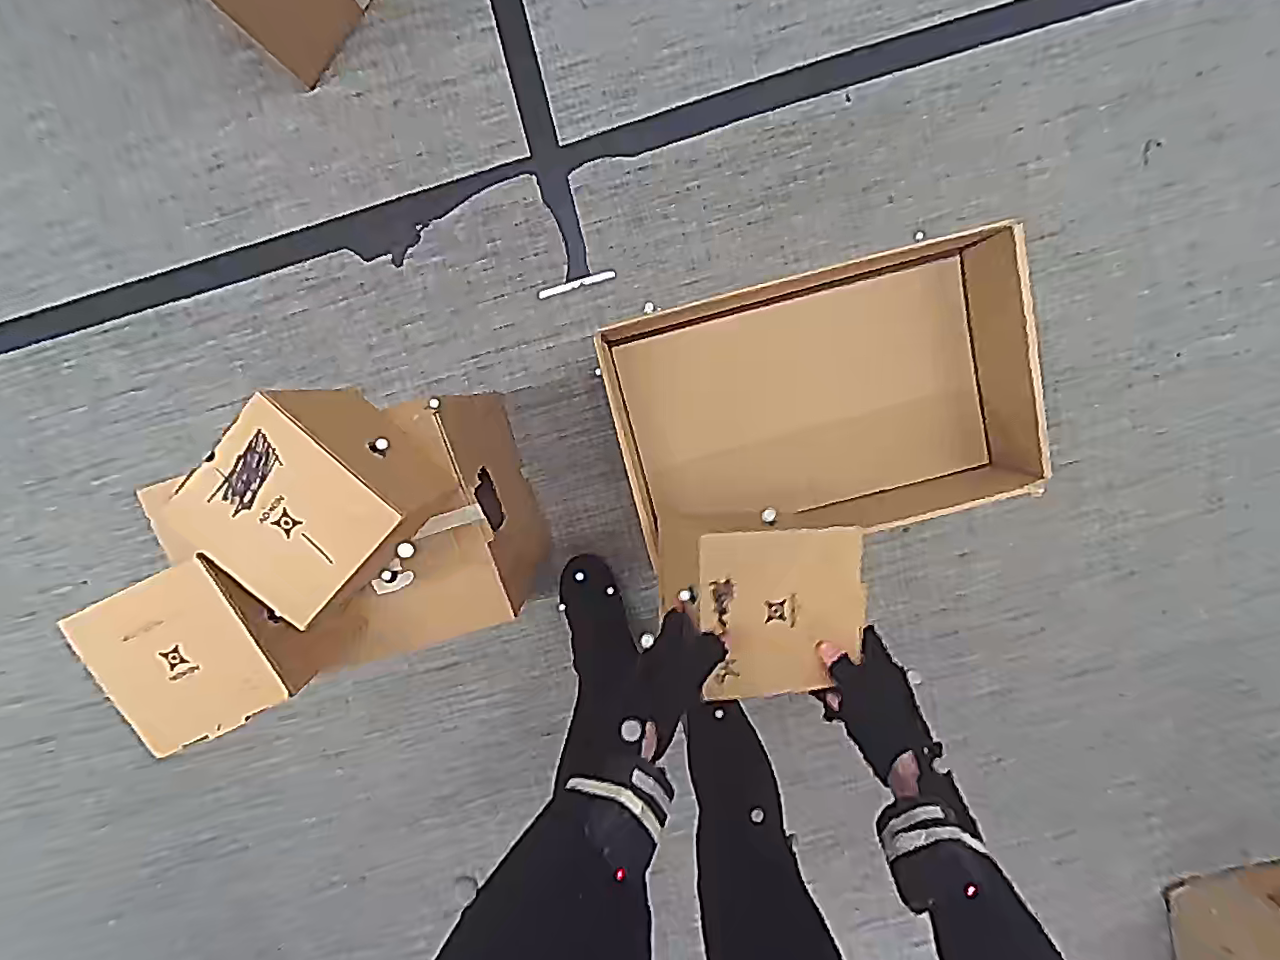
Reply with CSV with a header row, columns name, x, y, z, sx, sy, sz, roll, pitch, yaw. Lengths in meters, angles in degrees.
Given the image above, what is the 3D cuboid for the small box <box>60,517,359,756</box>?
name,x,y,z,sx,sy,sz,roll,pitch,yaw
small box,-0.468,0.166,0.623,0.168,0.176,0.179,-26,99,3

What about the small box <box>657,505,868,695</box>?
name,x,y,z,sx,sy,sz,roll,pitch,yaw
small box,0.126,0.118,0.607,0.179,0.176,0.168,-1,93,-13

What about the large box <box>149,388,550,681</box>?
name,x,y,z,sx,sy,sz,roll,pitch,yaw
large box,-0.397,0.064,0.851,0.408,0.320,0.320,-18,101,3
